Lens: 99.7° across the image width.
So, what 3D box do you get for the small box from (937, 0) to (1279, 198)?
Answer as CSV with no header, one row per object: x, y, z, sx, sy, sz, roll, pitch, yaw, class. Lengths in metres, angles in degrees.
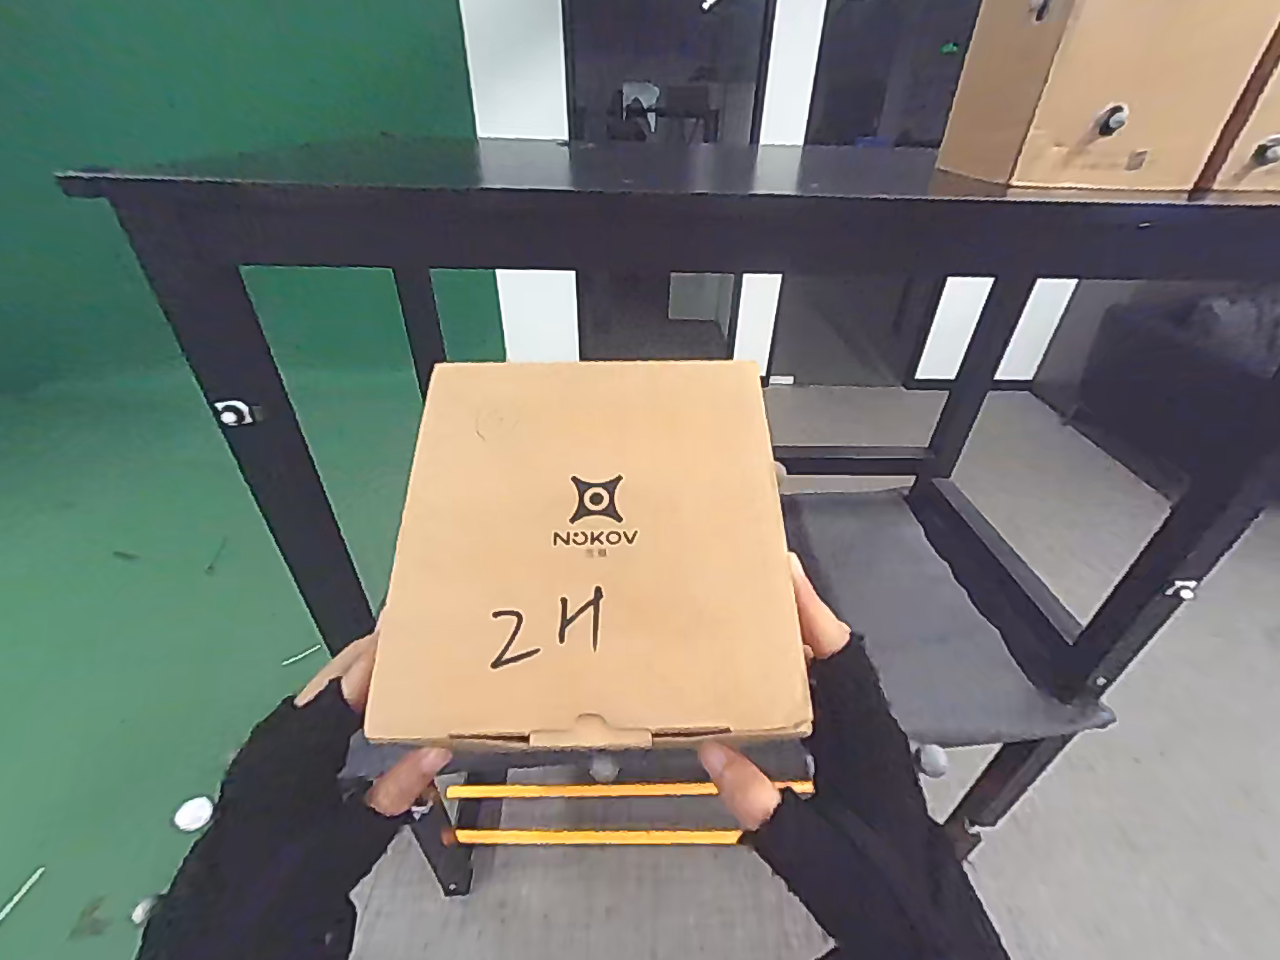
0.424,-0.385,0.527,0.168,0.176,0.179,3,35,2,small box

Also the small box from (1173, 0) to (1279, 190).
0.607,-0.384,0.527,0.168,0.176,0.179,2,33,1,small box
